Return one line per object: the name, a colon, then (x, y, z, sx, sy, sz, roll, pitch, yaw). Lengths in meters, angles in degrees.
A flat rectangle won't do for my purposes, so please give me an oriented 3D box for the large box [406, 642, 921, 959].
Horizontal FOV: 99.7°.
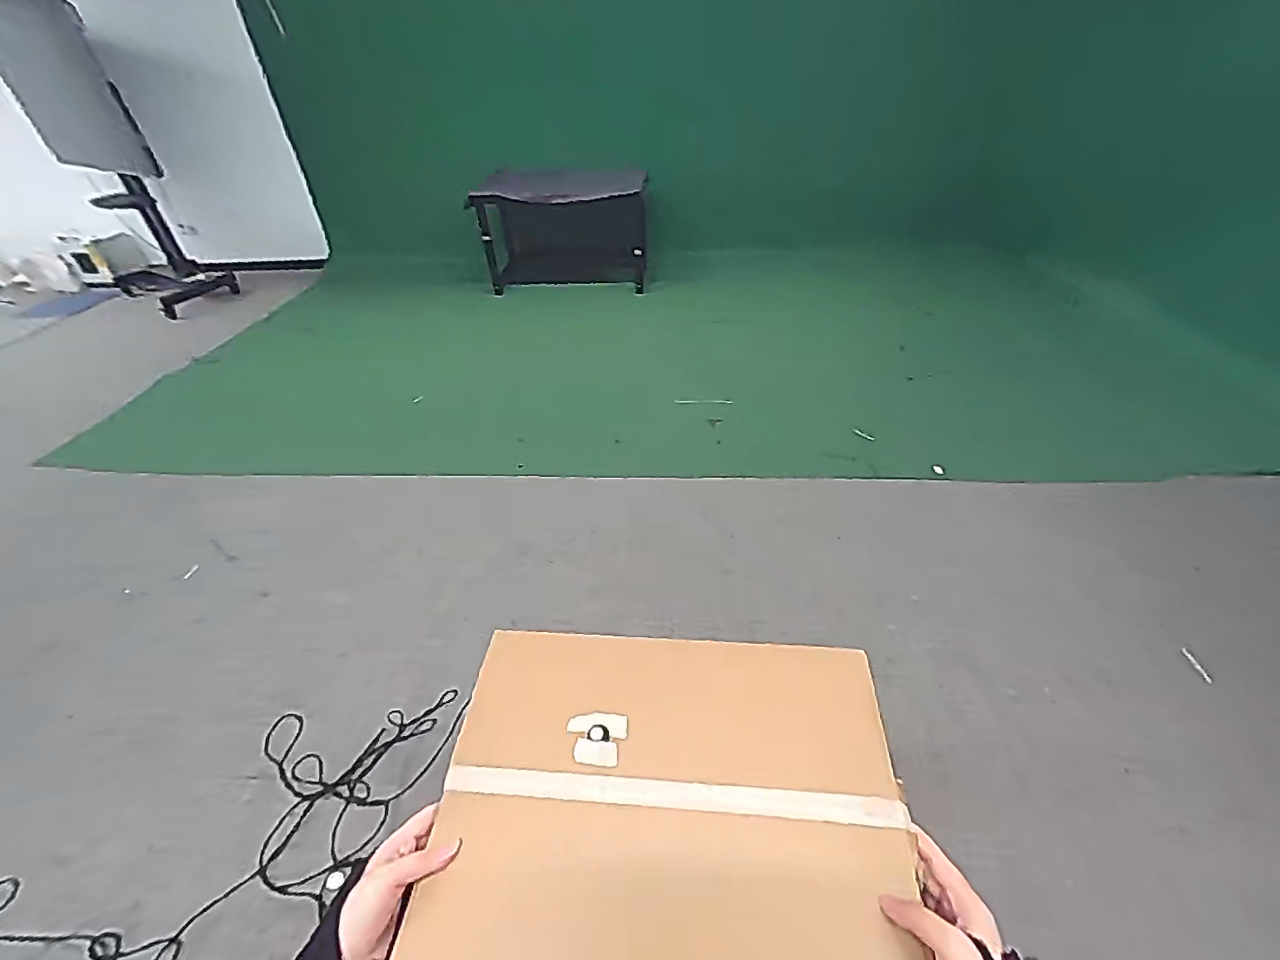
large box: (0.036, 0.395, 0.596, 0.408, 0.320, 0.320, -1, 44, 8)
